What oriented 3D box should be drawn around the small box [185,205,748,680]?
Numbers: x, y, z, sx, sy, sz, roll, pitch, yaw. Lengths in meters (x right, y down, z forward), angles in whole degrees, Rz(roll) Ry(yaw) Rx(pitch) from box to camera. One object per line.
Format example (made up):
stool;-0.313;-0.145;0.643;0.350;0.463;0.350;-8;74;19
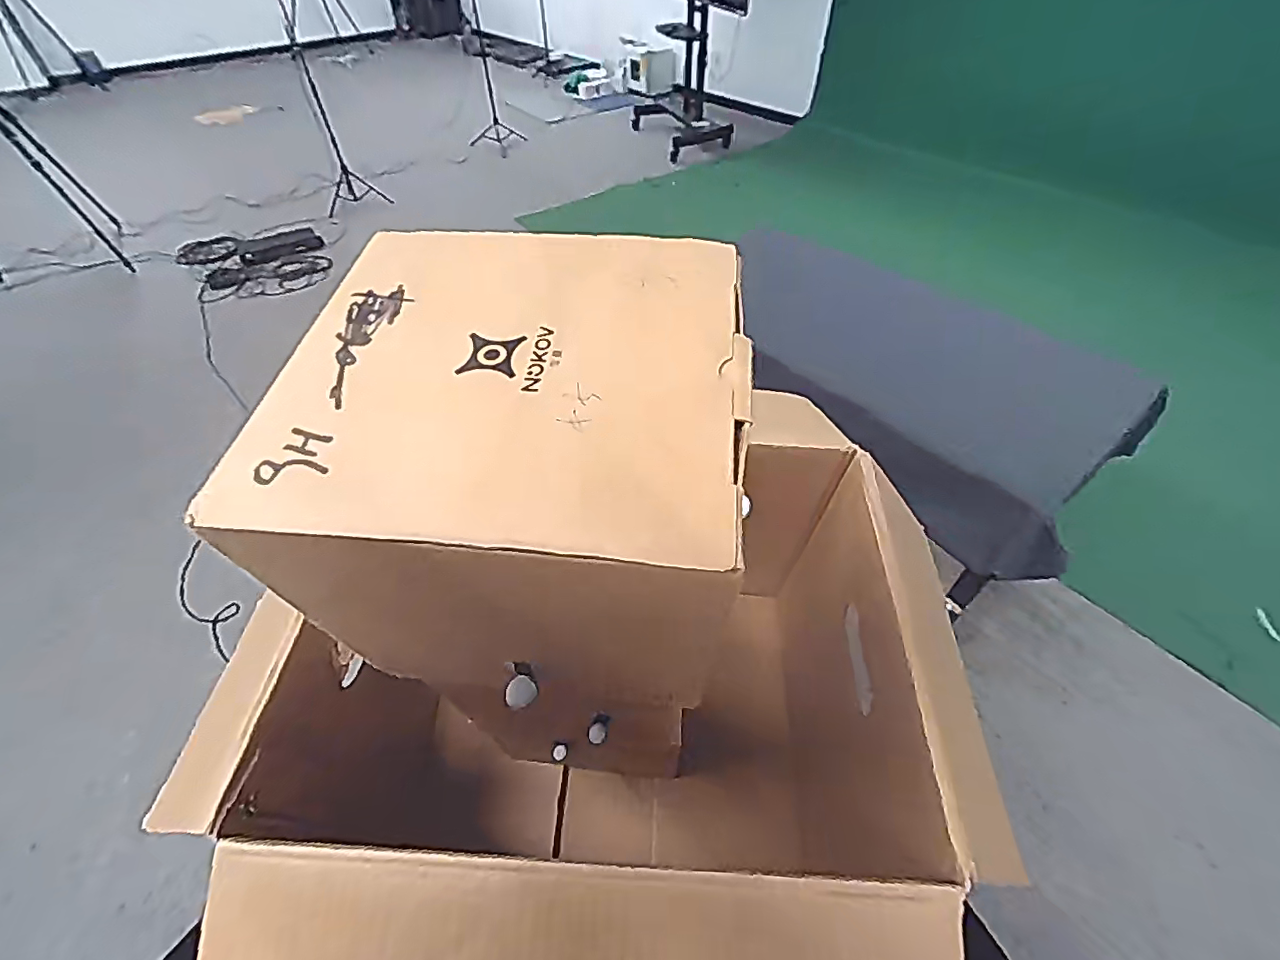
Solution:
small box;-0.048;-0.008;0.273;0.179;0.176;0.168;5;55;3
